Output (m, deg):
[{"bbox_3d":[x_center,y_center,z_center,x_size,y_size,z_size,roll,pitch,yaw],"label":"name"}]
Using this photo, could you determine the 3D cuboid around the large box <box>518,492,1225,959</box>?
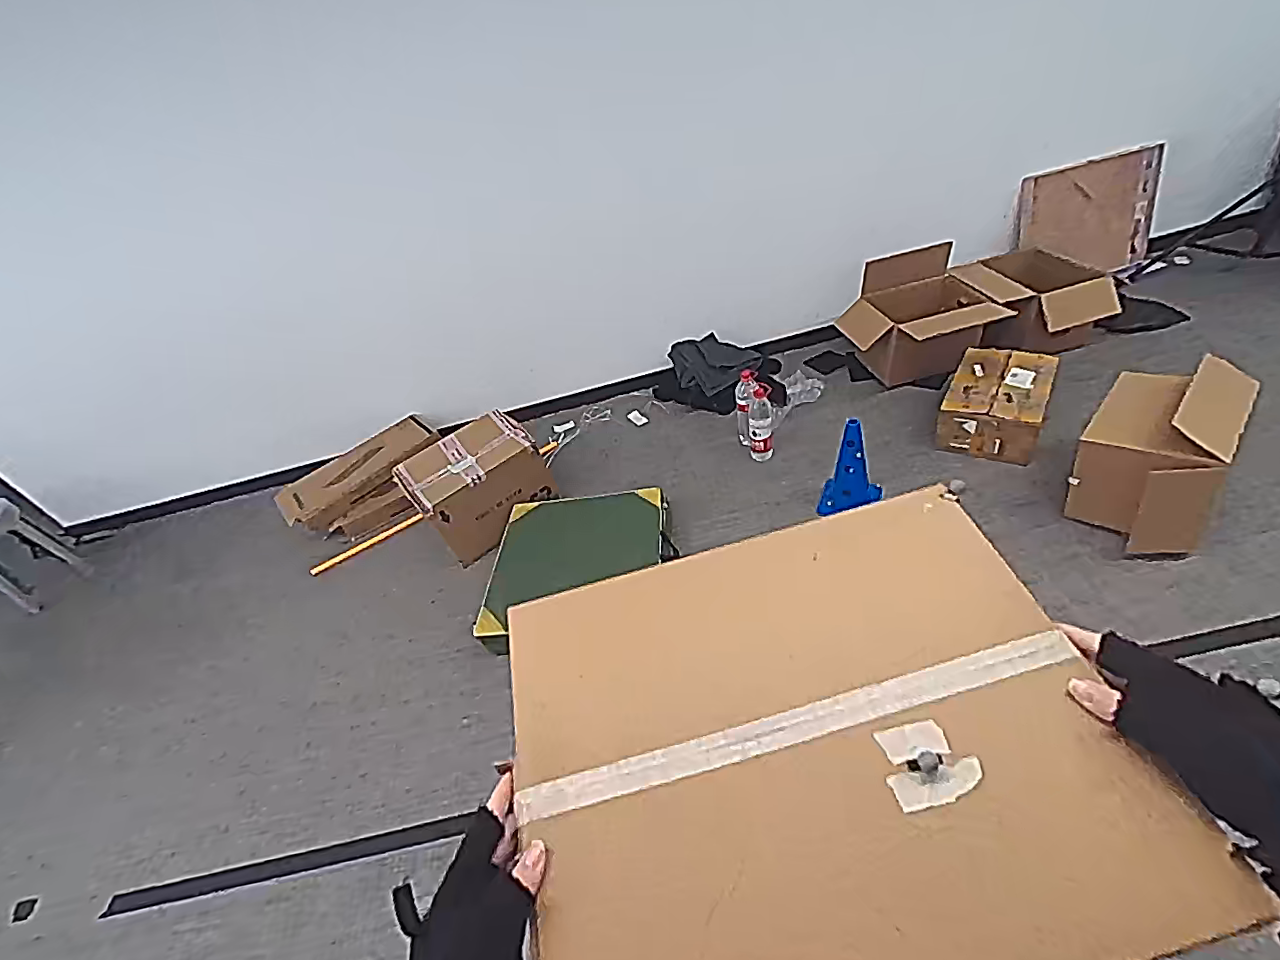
[{"bbox_3d":[0.136,0.270,0.511,0.408,0.320,0.320,-16,50,-2],"label":"large box"}]
